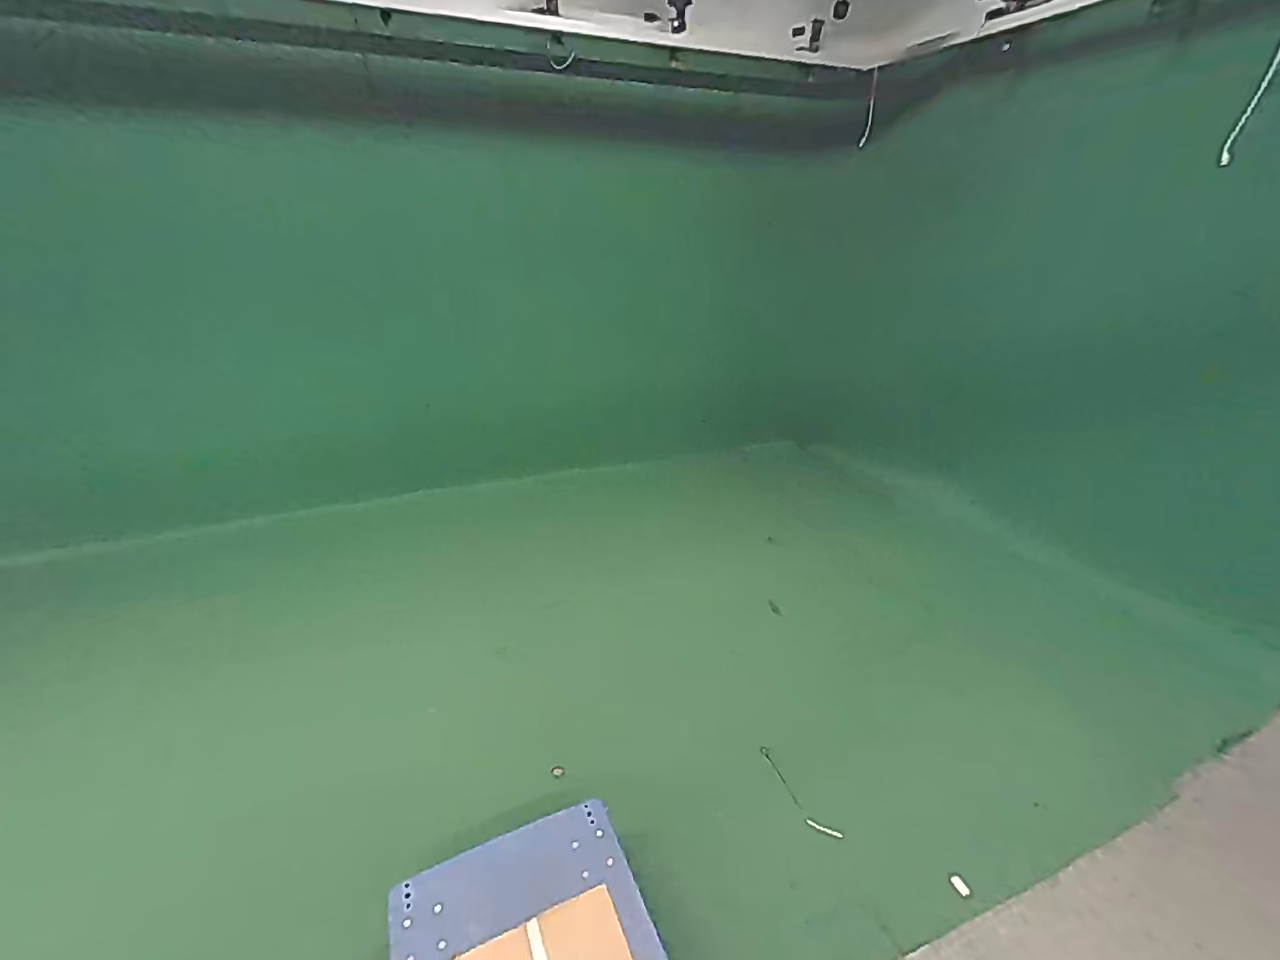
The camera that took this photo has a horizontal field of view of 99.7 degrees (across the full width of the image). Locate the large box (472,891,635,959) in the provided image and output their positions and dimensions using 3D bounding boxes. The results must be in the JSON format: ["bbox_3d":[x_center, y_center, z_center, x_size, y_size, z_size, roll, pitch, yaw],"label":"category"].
[{"bbox_3d":[-0.115,1.066,0.934,0.320,0.320,0.408,-11,27,-22],"label":"large box"}]
